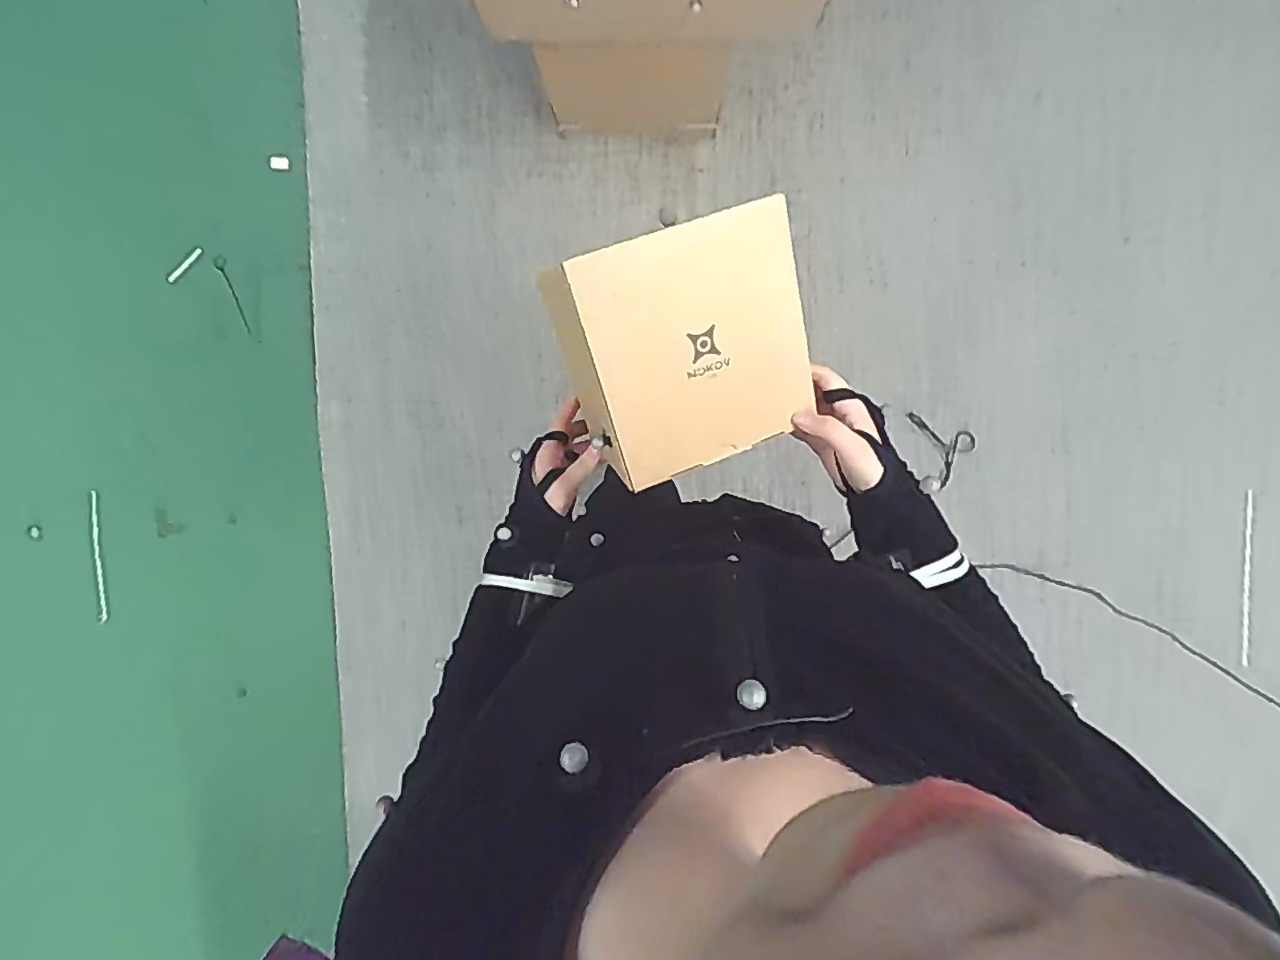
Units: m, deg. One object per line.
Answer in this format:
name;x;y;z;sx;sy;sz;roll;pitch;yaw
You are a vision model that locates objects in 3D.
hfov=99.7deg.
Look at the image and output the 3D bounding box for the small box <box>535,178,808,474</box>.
small box;0.018;-0.132;0.465;0.168;0.176;0.179;-21;115;-9
